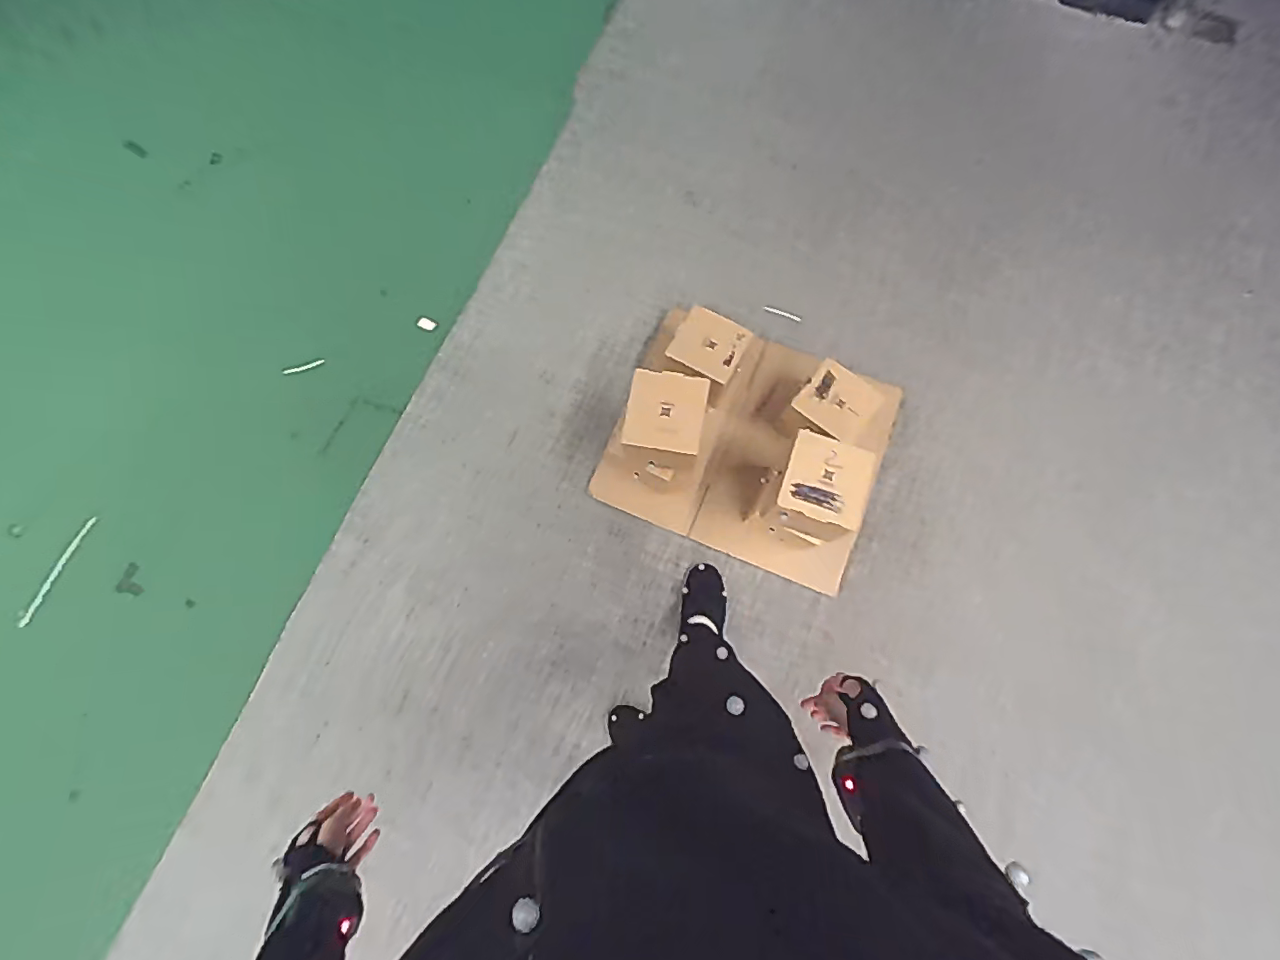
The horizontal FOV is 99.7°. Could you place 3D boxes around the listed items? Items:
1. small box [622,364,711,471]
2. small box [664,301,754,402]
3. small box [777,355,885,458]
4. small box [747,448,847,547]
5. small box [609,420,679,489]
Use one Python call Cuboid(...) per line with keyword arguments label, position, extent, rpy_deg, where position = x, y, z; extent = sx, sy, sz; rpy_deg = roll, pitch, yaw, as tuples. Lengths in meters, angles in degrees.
Cuboid(label="small box", position=(0.057, -0.134, 1.216), extent=(0.168, 0.176, 0.179), rpy_deg=(10, 77, 4))
Cuboid(label="small box", position=(0.175, -0.330, 1.427), extent=(0.179, 0.176, 0.168), rpy_deg=(28, 78, 8))
Cuboid(label="small box", position=(0.477, -0.179, 1.380), extent=(0.179, 0.176, 0.168), rpy_deg=(38, 80, 8))
Cuboid(label="small box", position=(0.376, 0.051, 1.331), extent=(0.168, 0.176, 0.179), rpy_deg=(26, 78, 7))
Cuboid(label="small box", position=(0.038, -0.095, 1.375), extent=(0.168, 0.176, 0.179), rpy_deg=(27, 78, 6))
